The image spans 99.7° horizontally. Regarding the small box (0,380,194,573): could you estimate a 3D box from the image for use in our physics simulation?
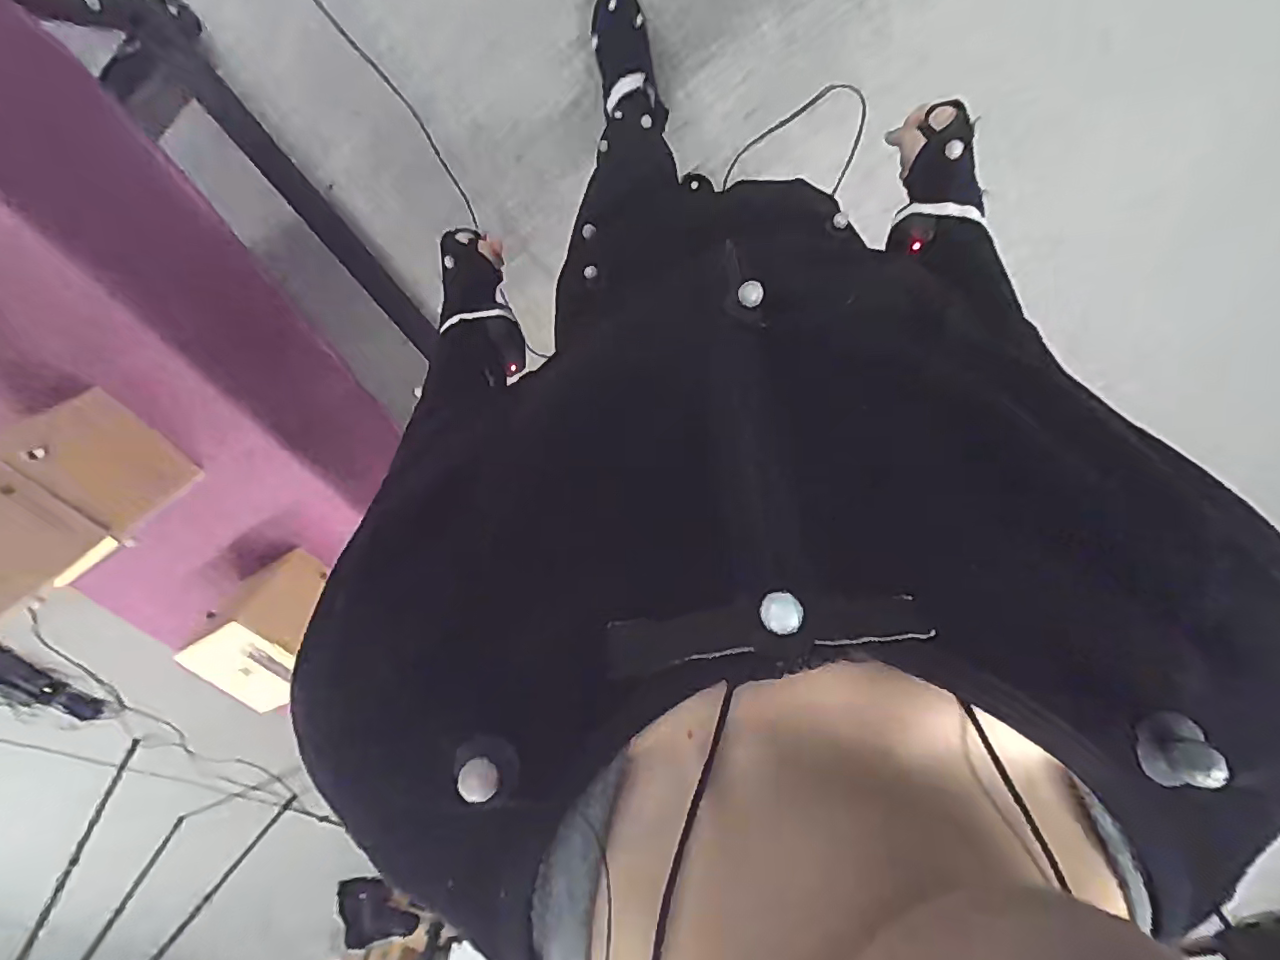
[{"bbox_3d":[-0.791,-0.008,0.754,0.168,0.176,0.179,-26,118,19],"label":"small box"}]

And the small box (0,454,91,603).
[{"bbox_3d":[-0.803,0.077,0.615,0.179,0.176,0.168,-27,117,21],"label":"small box"}]
